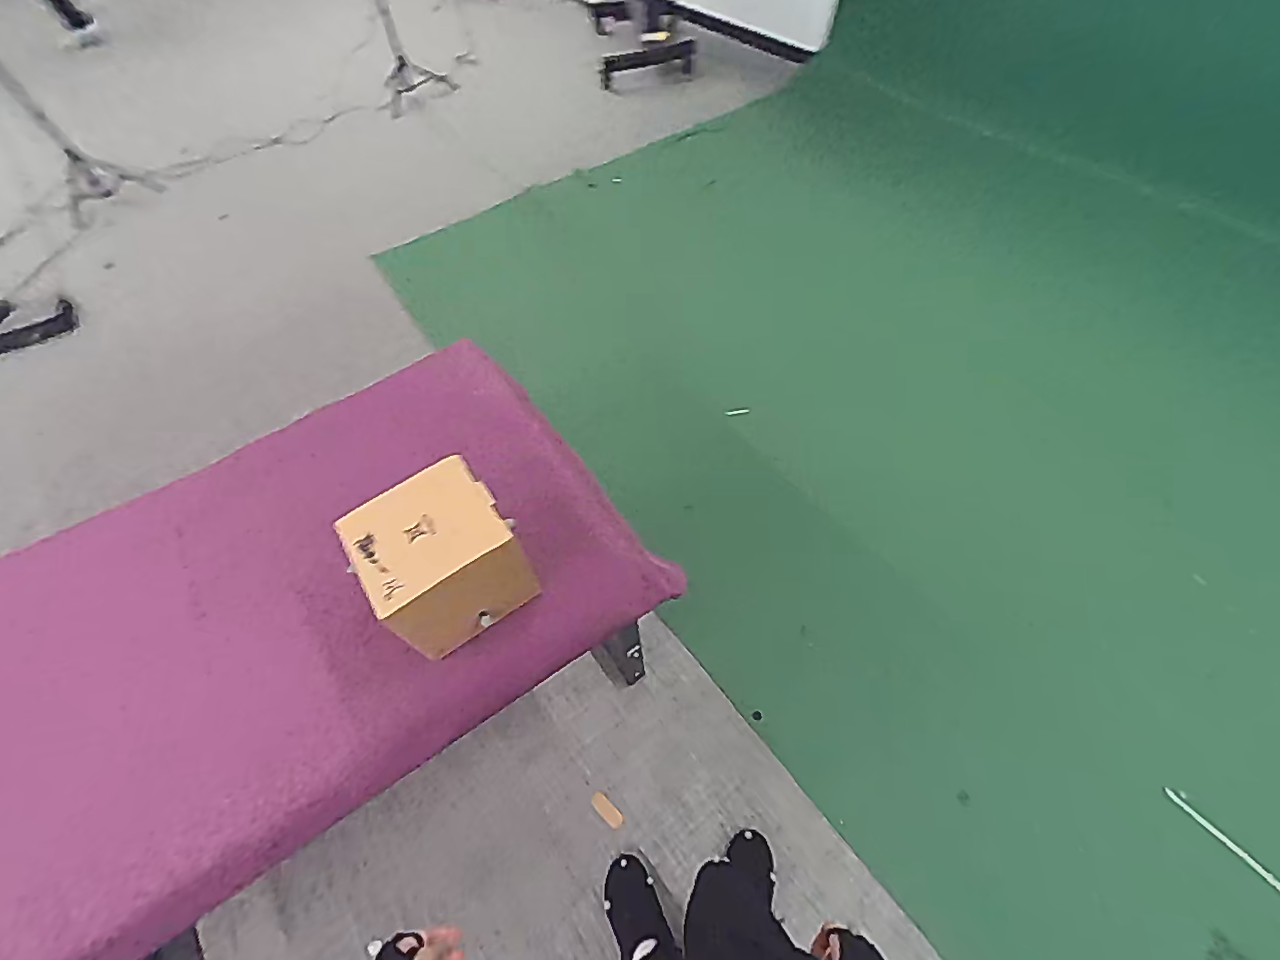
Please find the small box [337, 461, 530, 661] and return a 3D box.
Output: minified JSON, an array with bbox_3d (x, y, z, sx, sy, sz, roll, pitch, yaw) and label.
[{"bbox_3d":[-0.266,0.112,0.737,0.179,0.176,0.168,-32,57,-18],"label":"small box"}]
